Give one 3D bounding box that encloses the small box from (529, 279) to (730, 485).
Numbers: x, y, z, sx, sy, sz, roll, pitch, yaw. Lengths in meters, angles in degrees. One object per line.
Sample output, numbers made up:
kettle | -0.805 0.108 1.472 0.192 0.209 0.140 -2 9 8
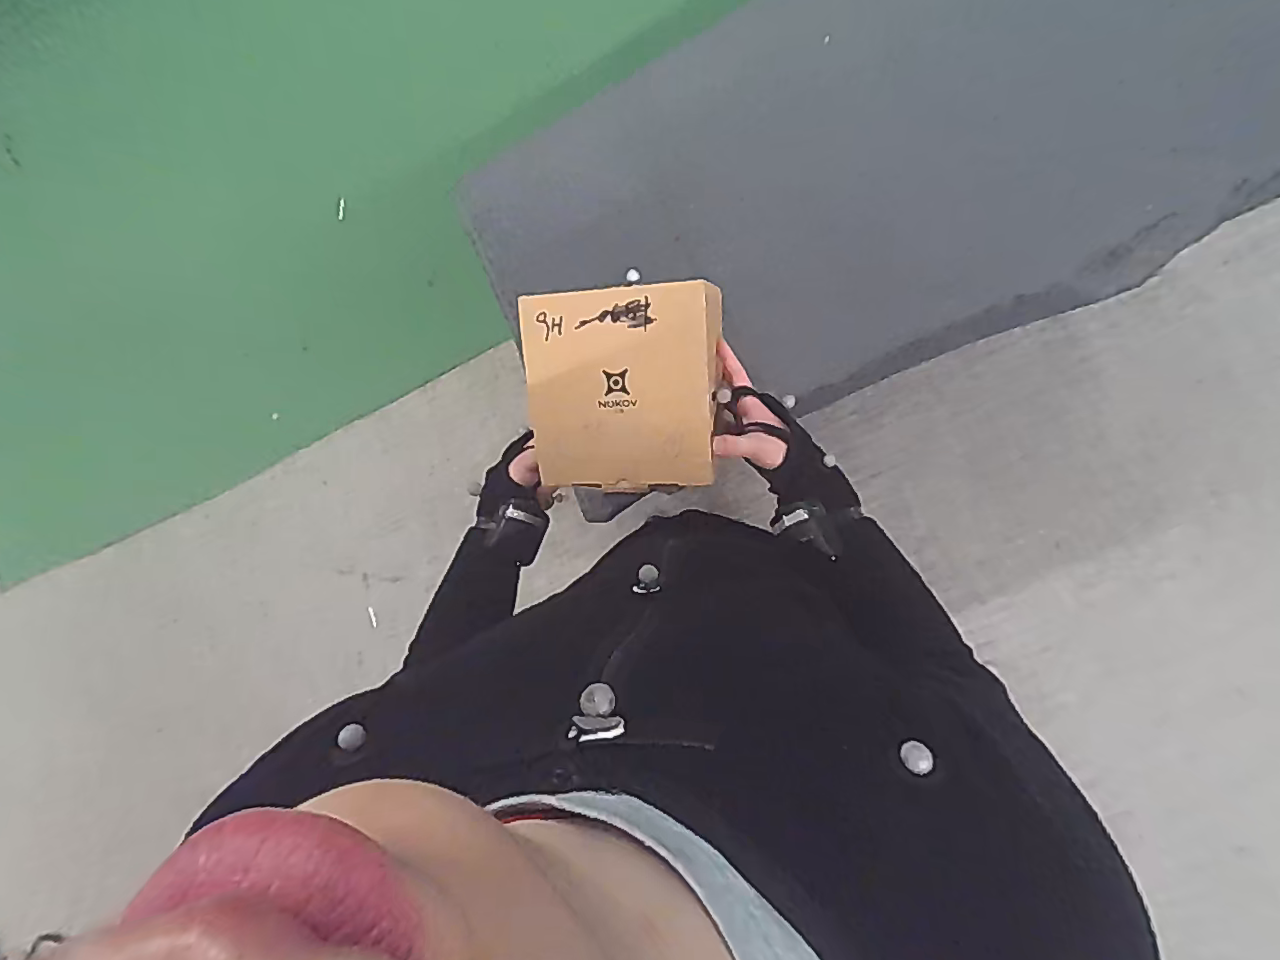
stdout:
small box | 0.004 -0.103 0.545 0.168 0.176 0.179 0 107 11
